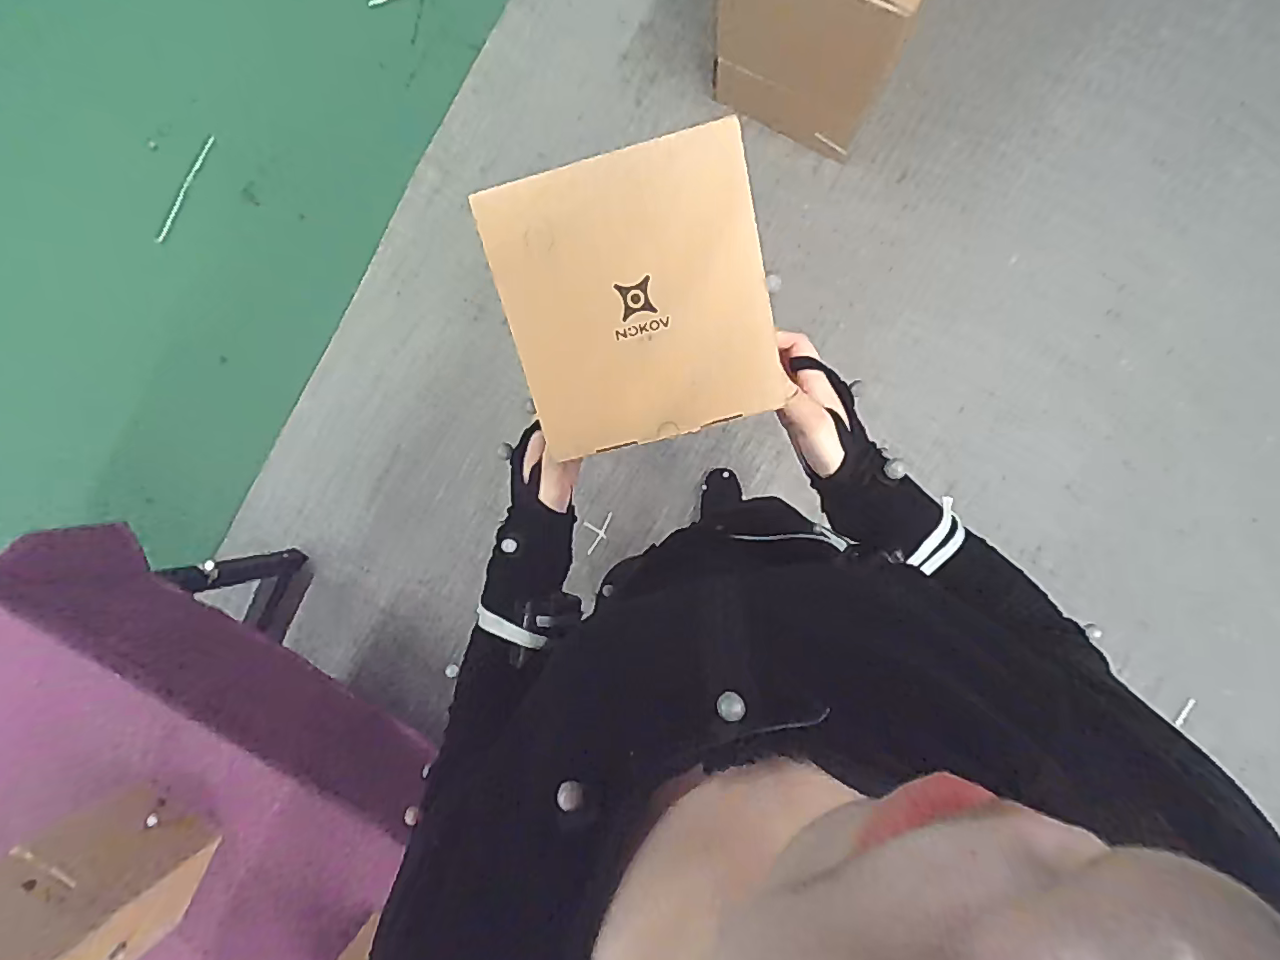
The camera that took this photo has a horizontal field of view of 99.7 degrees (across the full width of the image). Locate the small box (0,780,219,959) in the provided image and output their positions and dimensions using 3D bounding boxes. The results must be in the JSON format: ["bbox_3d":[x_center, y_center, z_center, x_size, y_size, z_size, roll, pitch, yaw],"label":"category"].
[{"bbox_3d":[-0.765,0.585,0.777,0.168,0.176,0.179,28,93,5],"label":"small box"}]

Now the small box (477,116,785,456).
[{"bbox_3d":[-0.001,-0.139,0.418,0.168,0.176,0.179,-13,109,5],"label":"small box"}]

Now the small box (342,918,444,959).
[{"bbox_3d":[-0.372,0.763,0.734,0.168,0.176,0.179,25,94,6],"label":"small box"}]
